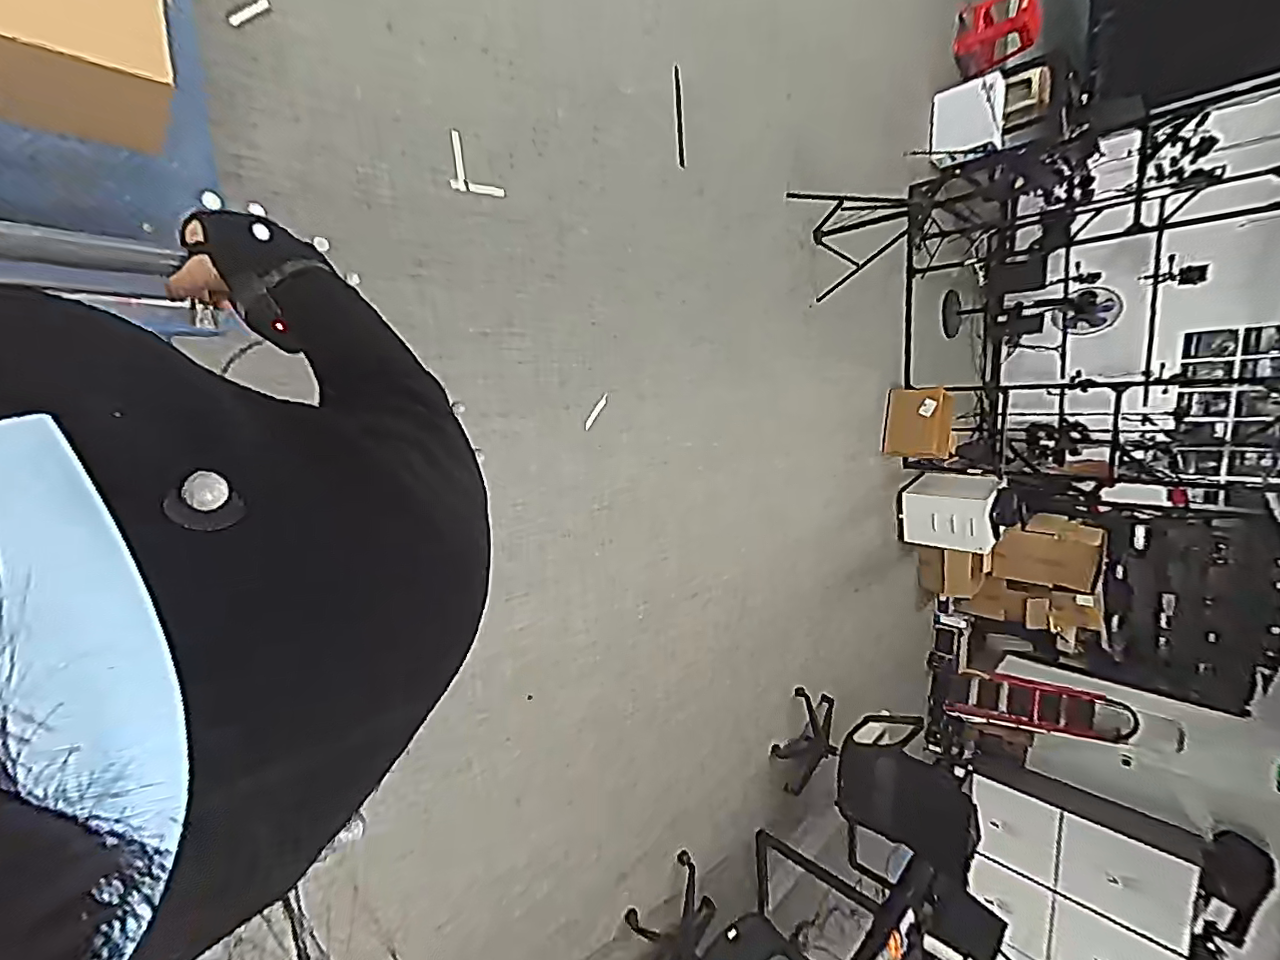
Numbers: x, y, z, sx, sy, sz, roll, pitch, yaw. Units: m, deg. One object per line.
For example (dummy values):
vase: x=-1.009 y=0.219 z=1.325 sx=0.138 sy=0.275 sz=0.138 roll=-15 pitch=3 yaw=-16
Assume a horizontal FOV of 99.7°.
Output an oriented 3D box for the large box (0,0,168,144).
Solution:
large box: x=-0.932 y=-0.720 z=0.729 sx=0.408 sy=0.320 sz=0.320 roll=-9 pitch=101 yaw=-43
